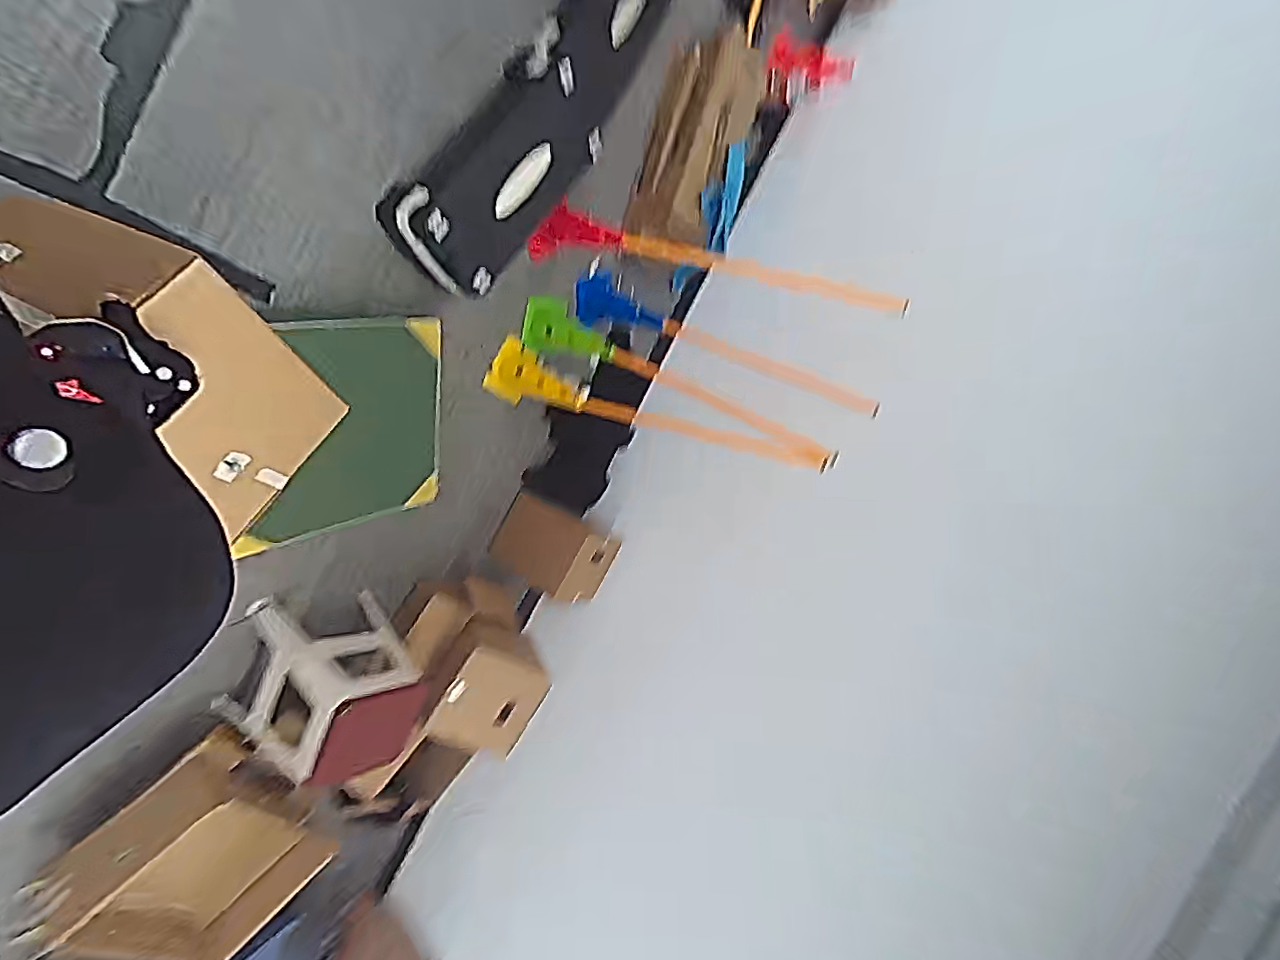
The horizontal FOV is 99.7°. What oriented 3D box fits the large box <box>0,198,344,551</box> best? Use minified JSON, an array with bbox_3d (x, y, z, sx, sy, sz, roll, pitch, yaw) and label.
[{"bbox_3d":[-0.748,-0.143,0.783,0.320,0.408,0.320,-61,160,-20],"label":"large box"}]
